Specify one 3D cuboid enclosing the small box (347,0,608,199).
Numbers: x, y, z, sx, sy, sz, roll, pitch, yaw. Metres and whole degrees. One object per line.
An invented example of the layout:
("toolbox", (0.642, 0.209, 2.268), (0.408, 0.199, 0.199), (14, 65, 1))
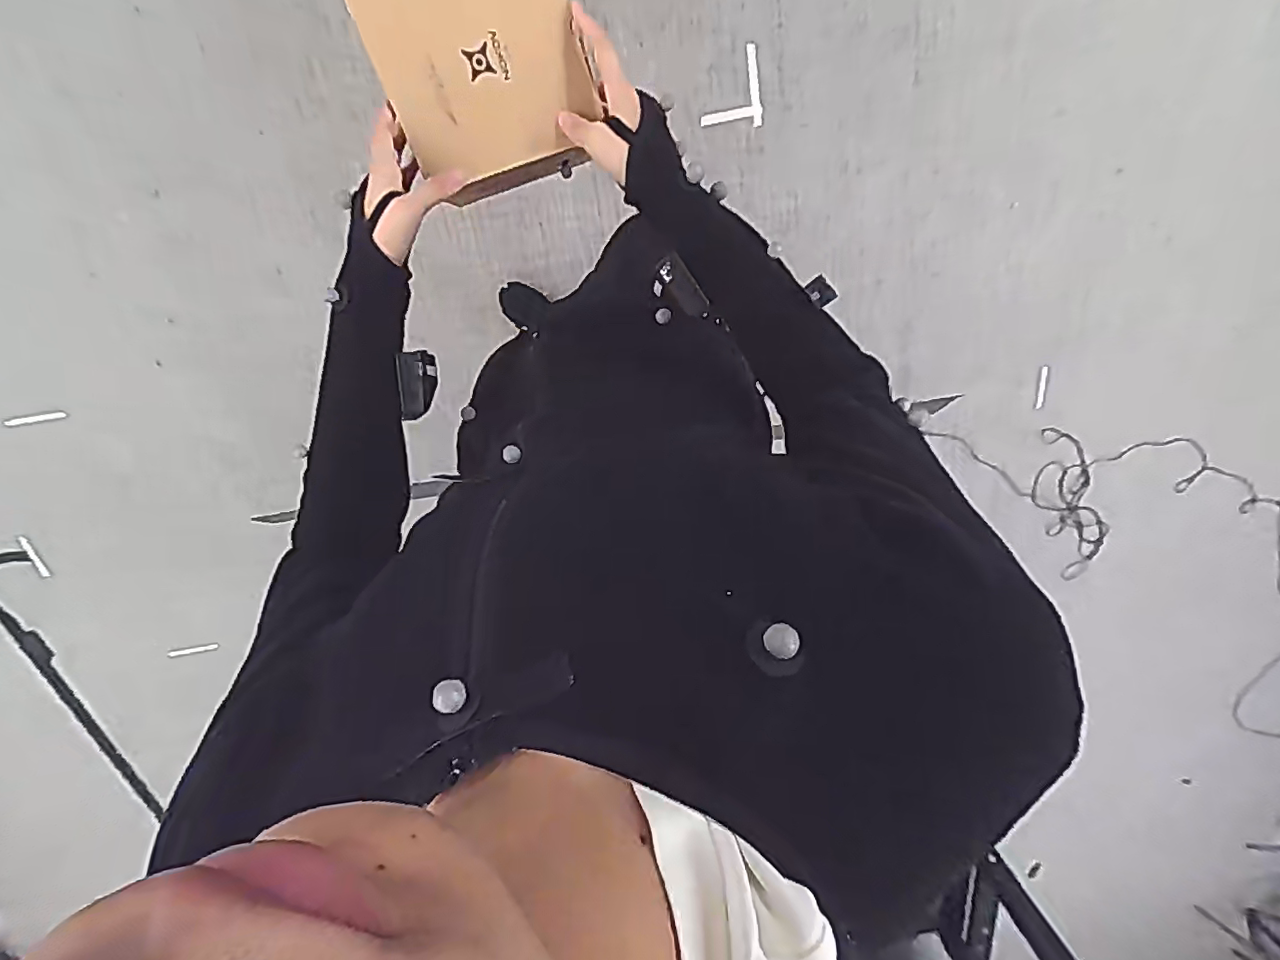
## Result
("small box", (-0.147, -0.390, 0.525), (0.179, 0.176, 0.168), (-20, 115, -2))
